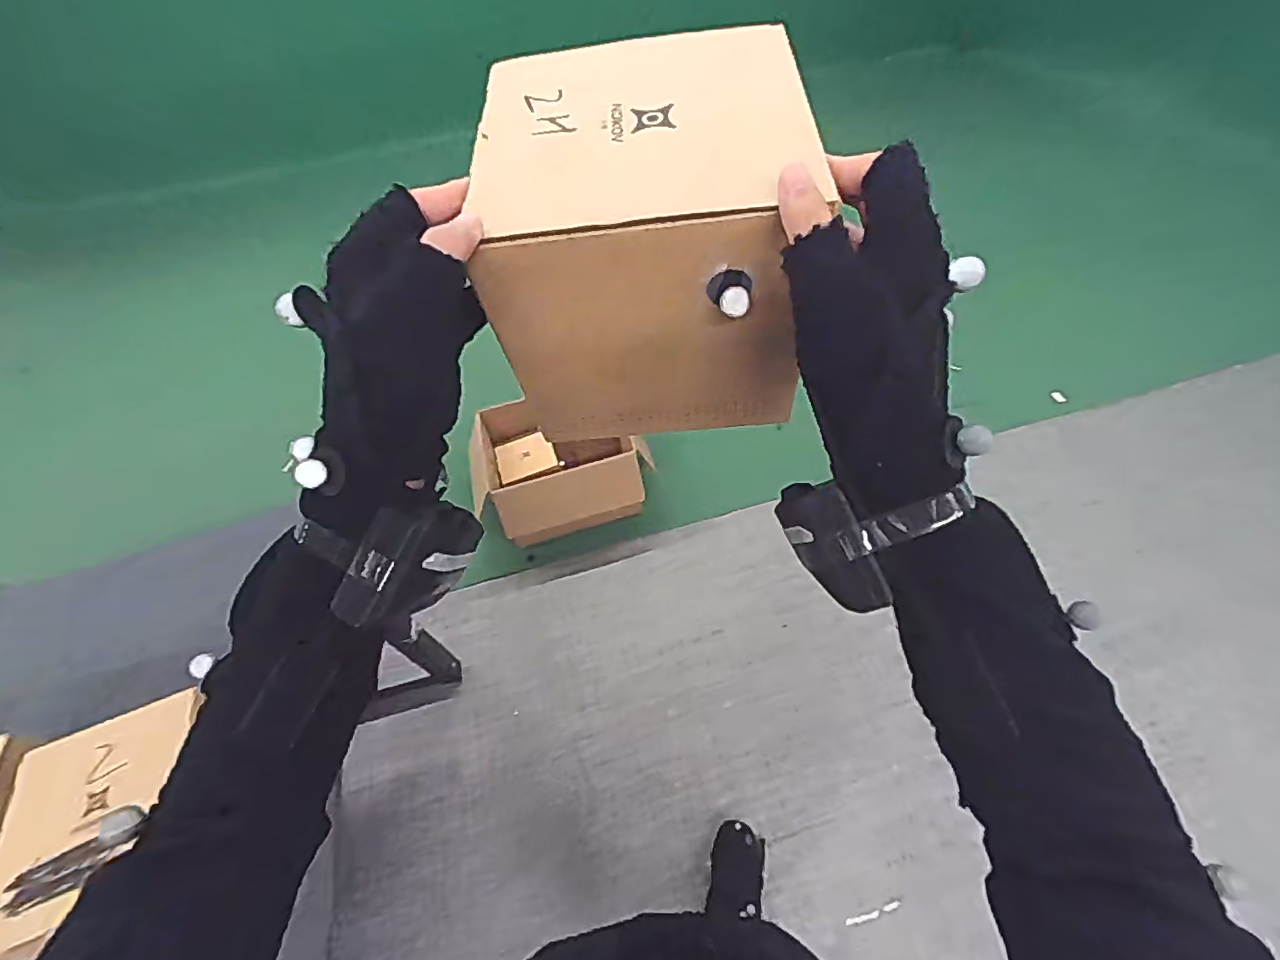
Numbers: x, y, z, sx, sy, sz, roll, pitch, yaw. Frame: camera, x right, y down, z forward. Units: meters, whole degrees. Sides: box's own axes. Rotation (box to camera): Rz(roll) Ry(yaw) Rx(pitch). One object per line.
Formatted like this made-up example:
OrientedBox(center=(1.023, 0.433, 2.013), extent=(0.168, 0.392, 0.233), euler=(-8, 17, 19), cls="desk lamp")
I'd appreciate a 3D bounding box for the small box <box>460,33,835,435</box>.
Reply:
OrientedBox(center=(0.008, -0.144, 0.354), extent=(0.179, 0.176, 0.168), euler=(-4, 61, 5), cls="small box")
